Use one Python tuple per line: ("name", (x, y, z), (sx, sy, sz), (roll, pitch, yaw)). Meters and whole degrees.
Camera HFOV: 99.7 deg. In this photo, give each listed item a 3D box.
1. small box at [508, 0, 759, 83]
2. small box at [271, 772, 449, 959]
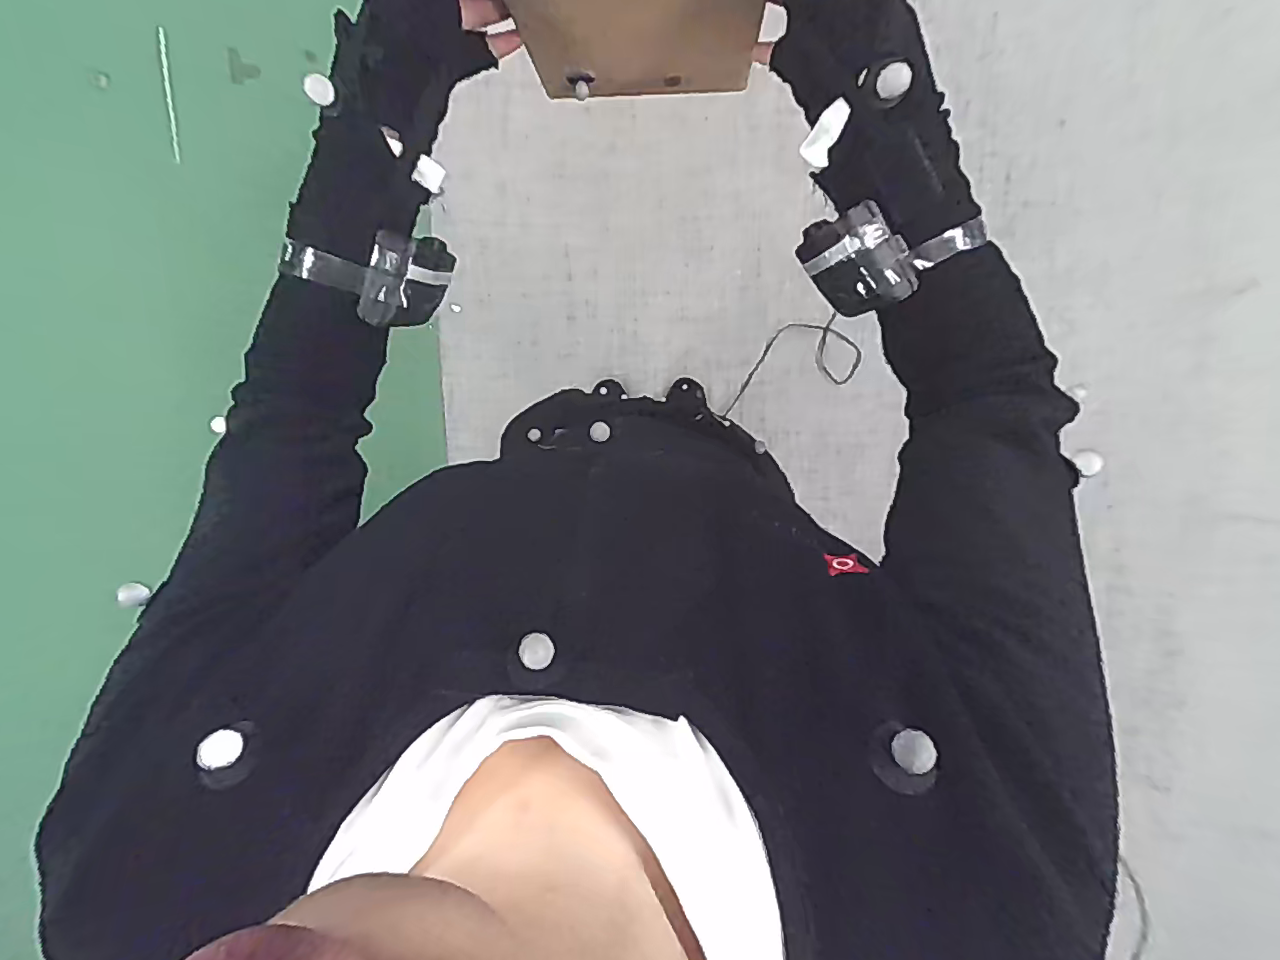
("small box", (-0.002, -0.388, 0.348), (0.168, 0.176, 0.179), (1, 99, 4))
("small box", (-0.398, 0.570, 0.792), (0.168, 0.176, 0.179), (13, 104, 3))
